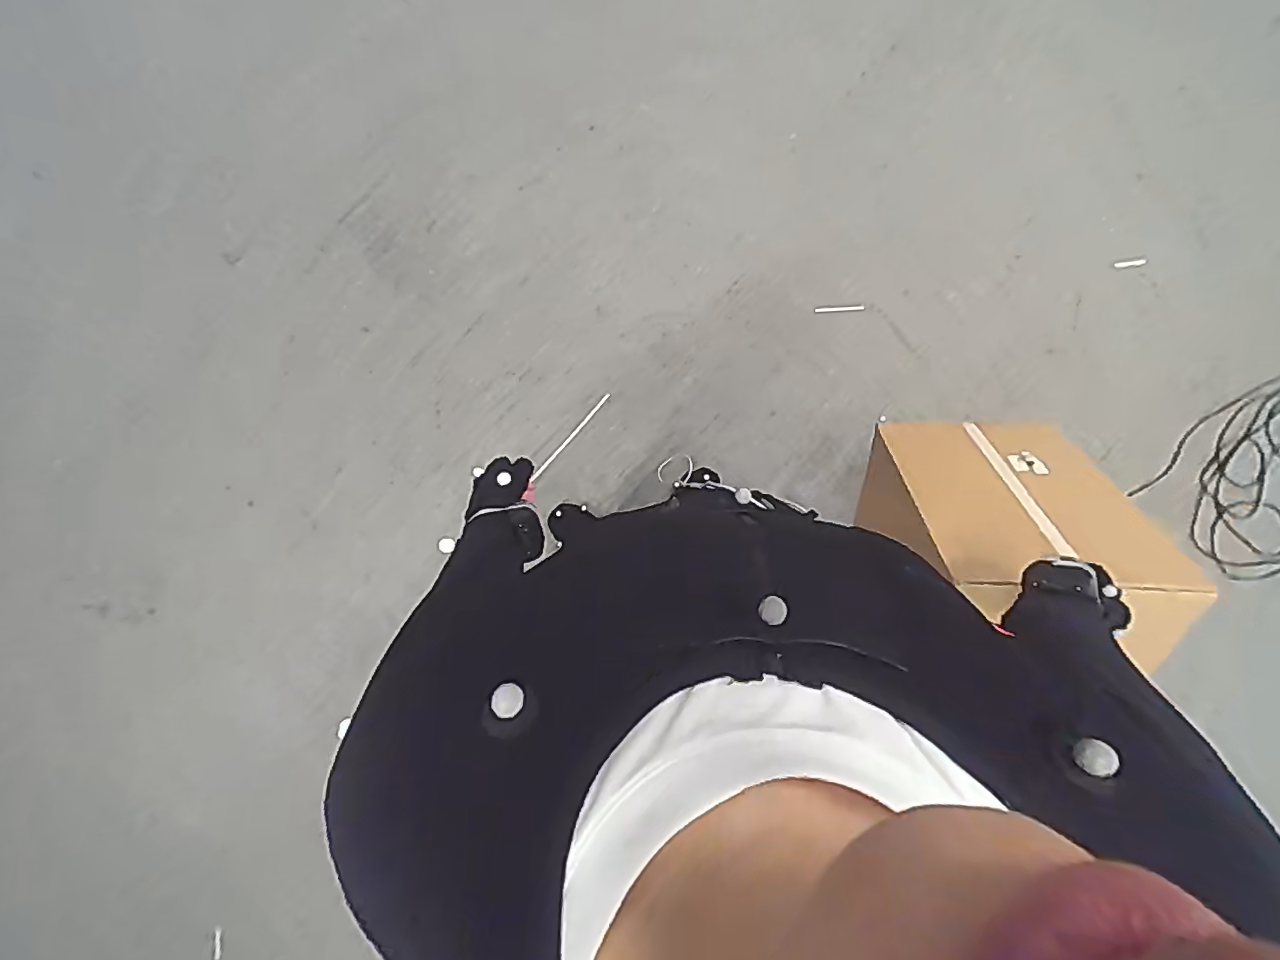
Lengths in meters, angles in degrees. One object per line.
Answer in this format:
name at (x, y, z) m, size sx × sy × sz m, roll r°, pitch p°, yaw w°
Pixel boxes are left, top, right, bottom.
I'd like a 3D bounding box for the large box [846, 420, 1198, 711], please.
large box at (0.580, 0.133, 0.938) m, size 0.320 × 0.408 × 0.320 m, roll 3°, pitch 127°, yaw 5°
